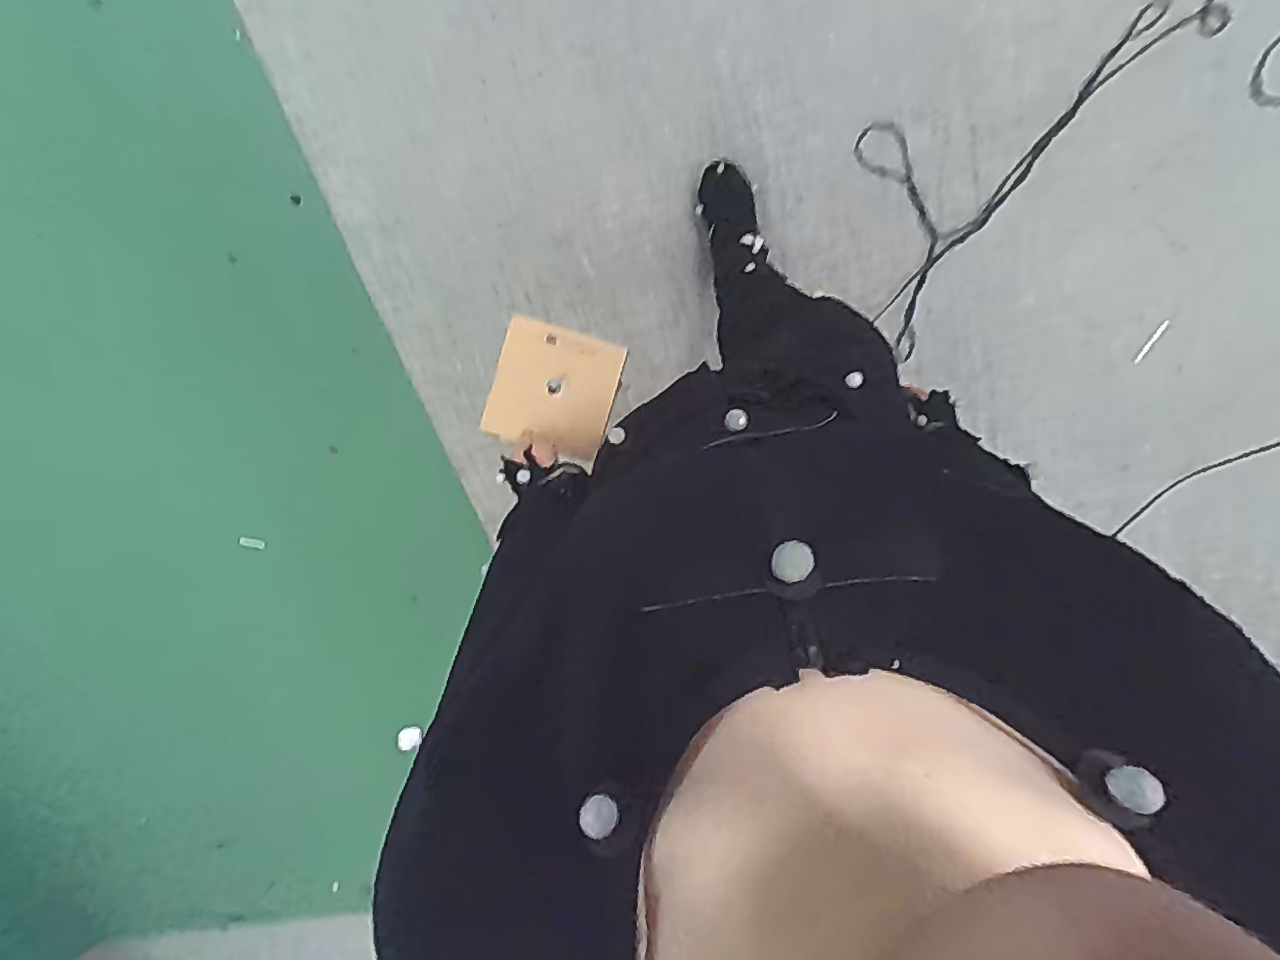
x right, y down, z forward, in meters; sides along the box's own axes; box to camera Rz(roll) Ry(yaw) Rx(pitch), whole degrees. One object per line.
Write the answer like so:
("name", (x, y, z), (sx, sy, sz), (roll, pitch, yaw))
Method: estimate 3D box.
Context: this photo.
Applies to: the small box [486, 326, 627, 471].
("small box", (-0.120, -0.117, 0.821), (0.168, 0.179, 0.176), (15, 87, -4))
